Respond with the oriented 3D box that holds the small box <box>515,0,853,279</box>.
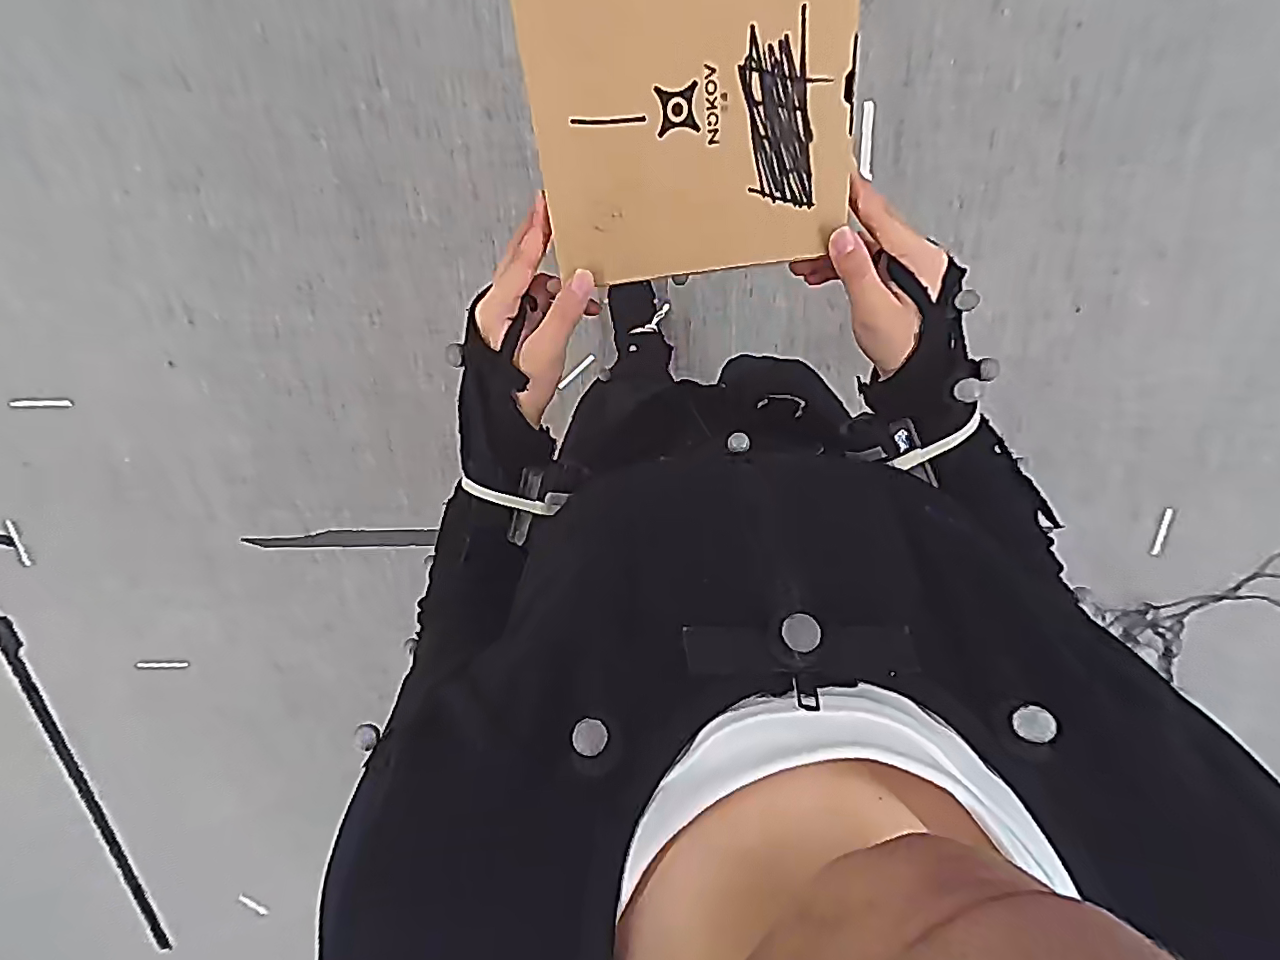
[{"bbox_3d":[0.026,-0.243,0.368,0.179,0.176,0.168,-7,117,2],"label":"small box"}]
